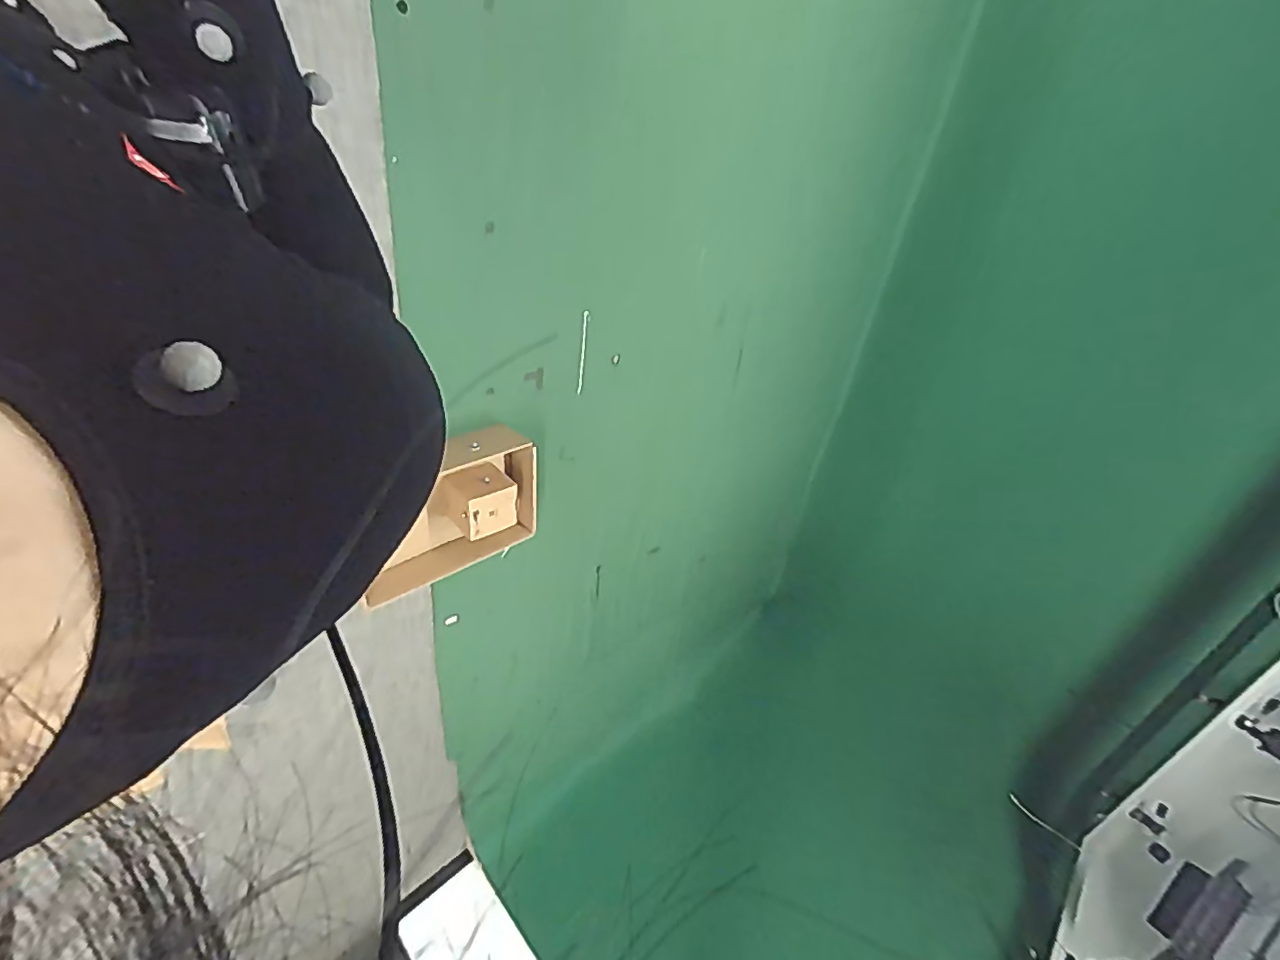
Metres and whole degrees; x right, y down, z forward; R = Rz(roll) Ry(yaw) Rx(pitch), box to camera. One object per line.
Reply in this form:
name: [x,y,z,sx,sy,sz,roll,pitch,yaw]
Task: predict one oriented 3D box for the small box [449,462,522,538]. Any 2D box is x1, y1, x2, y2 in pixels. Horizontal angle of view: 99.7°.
small box: [-0.517,0.059,1.806,0.179,0.176,0.168,-22,134,-38]
